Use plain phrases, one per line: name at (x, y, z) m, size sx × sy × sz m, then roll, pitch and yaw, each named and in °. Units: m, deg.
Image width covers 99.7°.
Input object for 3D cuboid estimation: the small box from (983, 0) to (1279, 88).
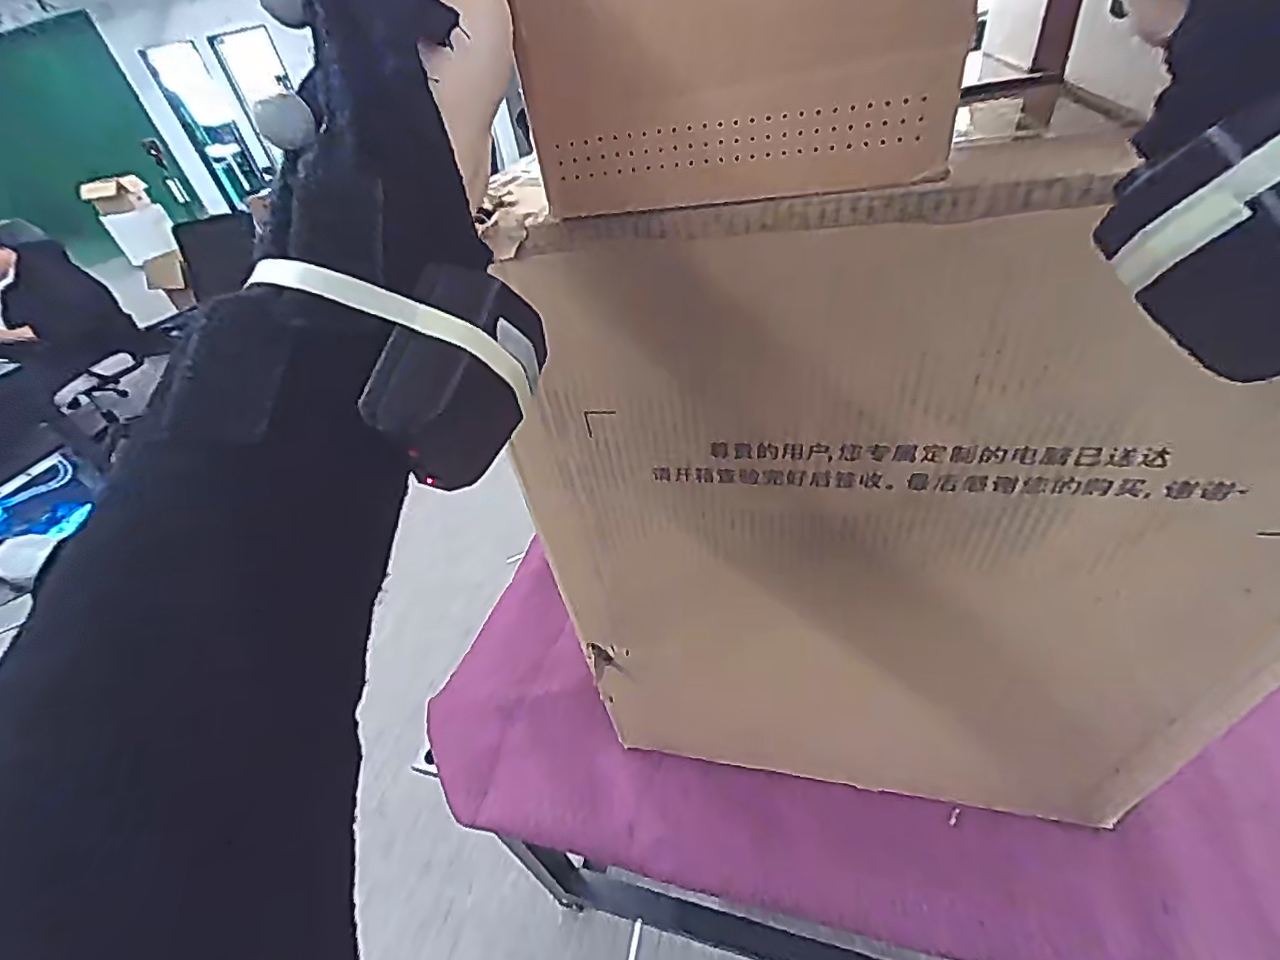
small box at (0.342, -0.368, 0.345) m, size 0.168 × 0.176 × 0.179 m, roll 3°, pitch 41°, yaw 18°
